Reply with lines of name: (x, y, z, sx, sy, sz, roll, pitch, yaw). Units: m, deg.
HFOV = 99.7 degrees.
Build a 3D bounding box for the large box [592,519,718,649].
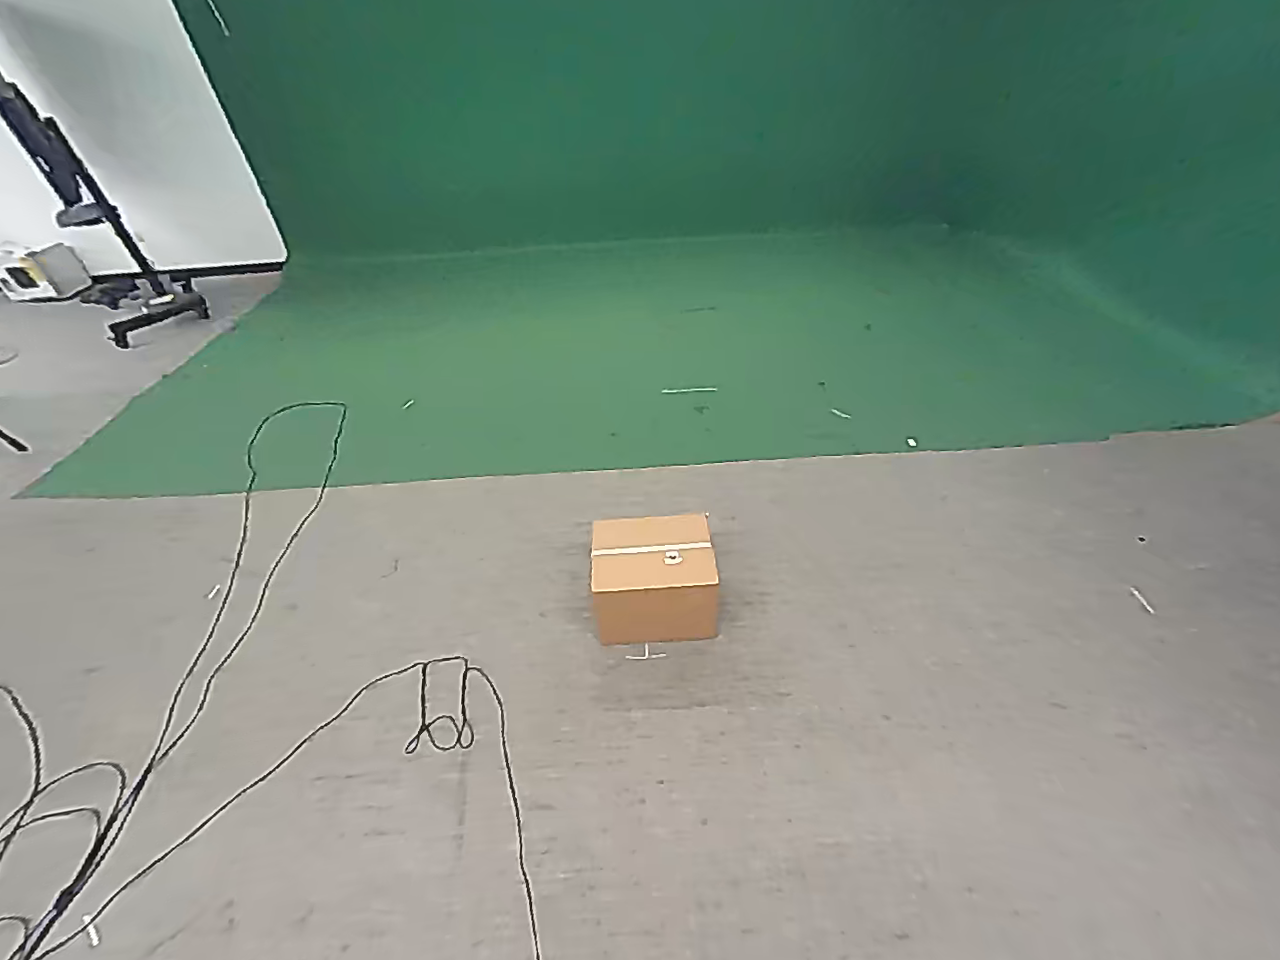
large box: (0.045, 0.366, 1.910, 0.408, 0.320, 0.320, -4, 41, -1)
